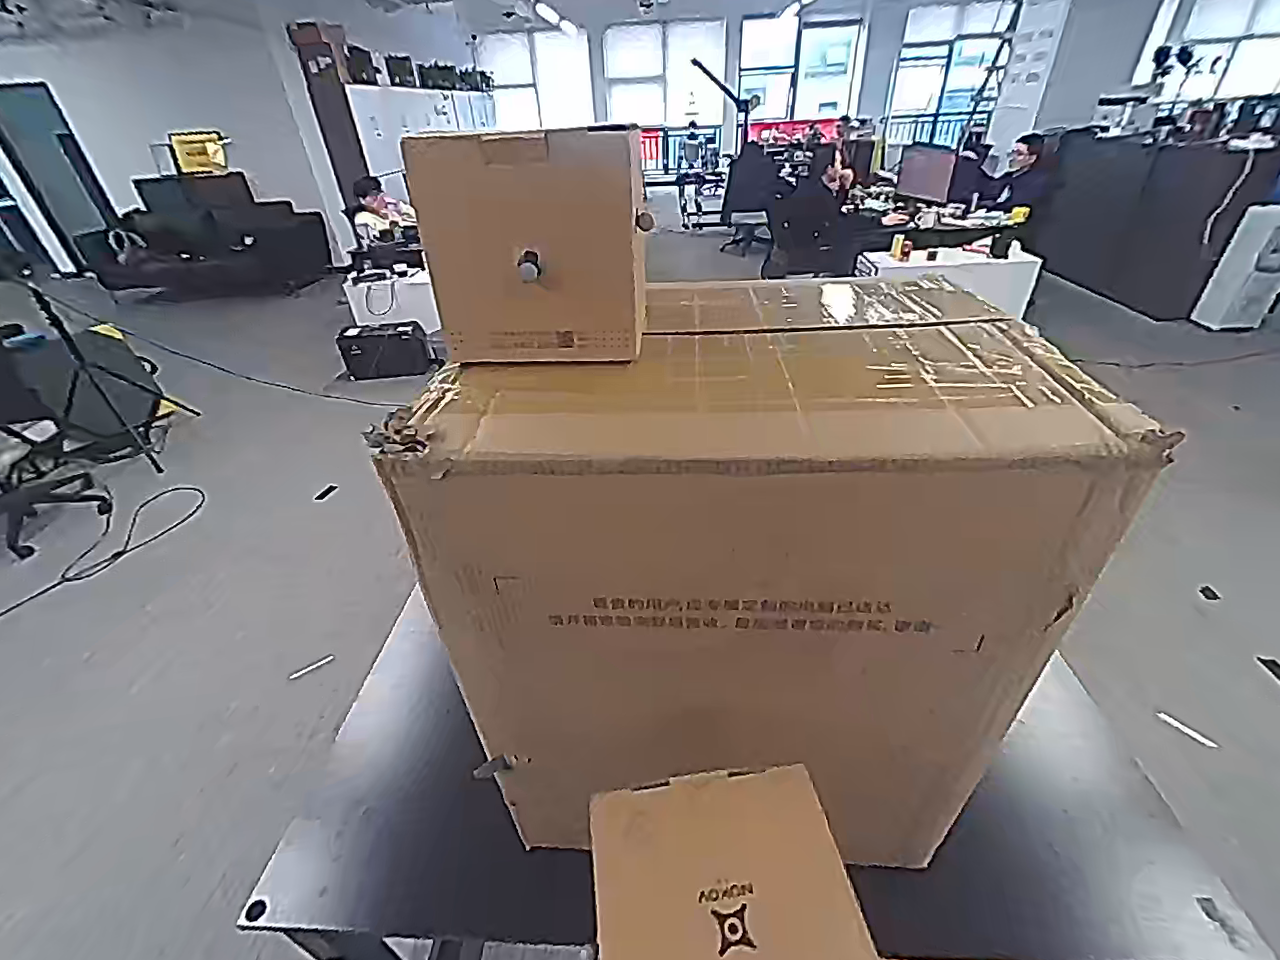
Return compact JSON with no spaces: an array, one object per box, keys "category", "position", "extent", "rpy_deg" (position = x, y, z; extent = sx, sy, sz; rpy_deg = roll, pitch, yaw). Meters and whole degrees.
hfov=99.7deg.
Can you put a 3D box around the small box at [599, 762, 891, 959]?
[{"category":"small box","position":[0.059,0.329,0.371],"extent":[0.168,0.176,0.179],"rpy_deg":[-4,36,-7]}]

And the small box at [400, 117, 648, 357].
[{"category":"small box","position":[-0.080,-0.216,0.483],"extent":[0.168,0.176,0.179],"rpy_deg":[0,34,3]}]
